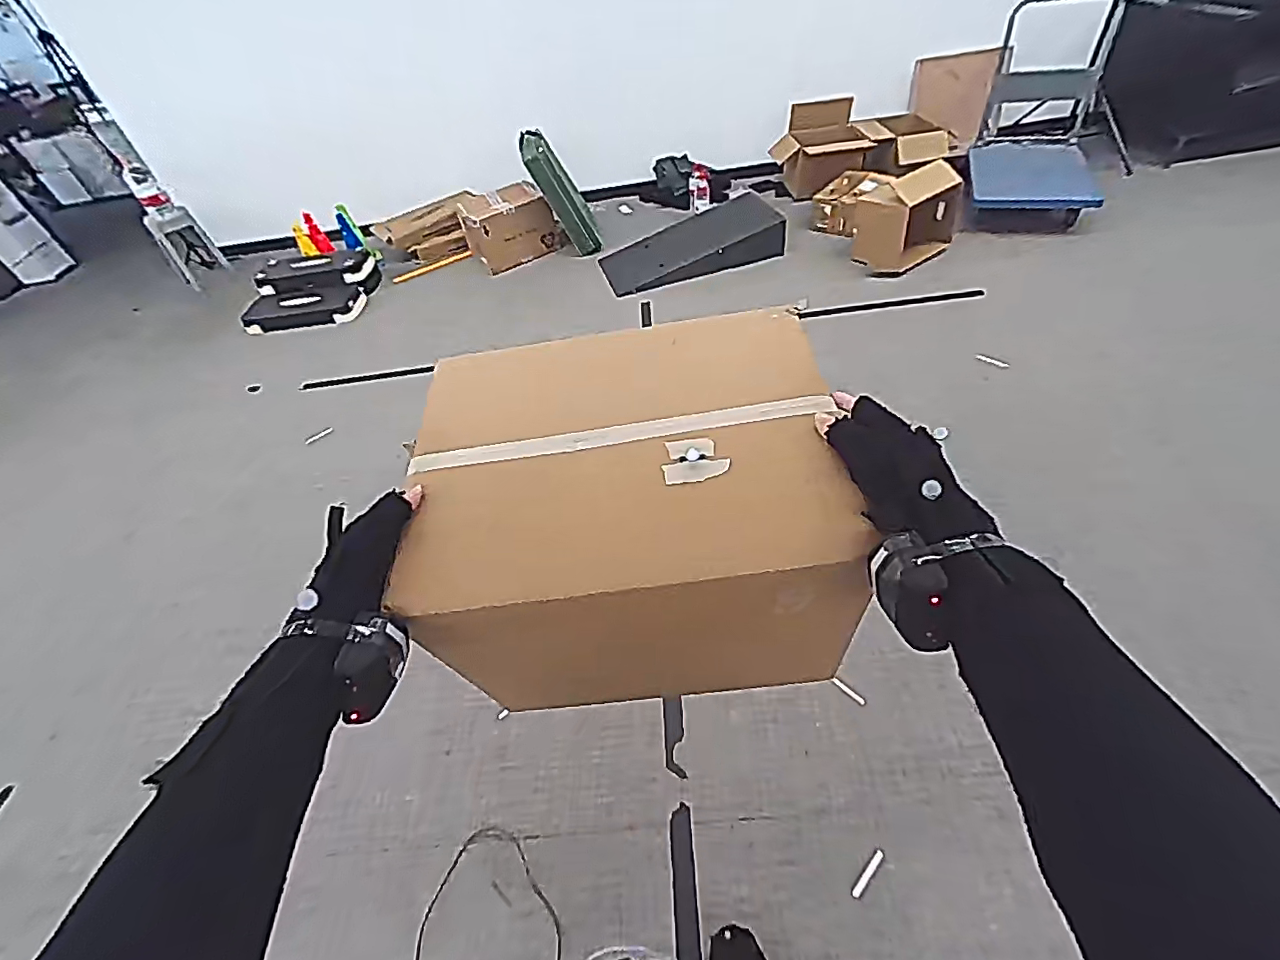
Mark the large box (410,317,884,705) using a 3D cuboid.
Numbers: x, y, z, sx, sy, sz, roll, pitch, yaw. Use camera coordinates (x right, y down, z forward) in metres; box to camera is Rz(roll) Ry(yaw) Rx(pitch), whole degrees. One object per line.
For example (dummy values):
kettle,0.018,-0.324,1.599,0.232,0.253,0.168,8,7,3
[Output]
large box,0.007,0.051,0.648,0.408,0.320,0.320,-8,53,3
